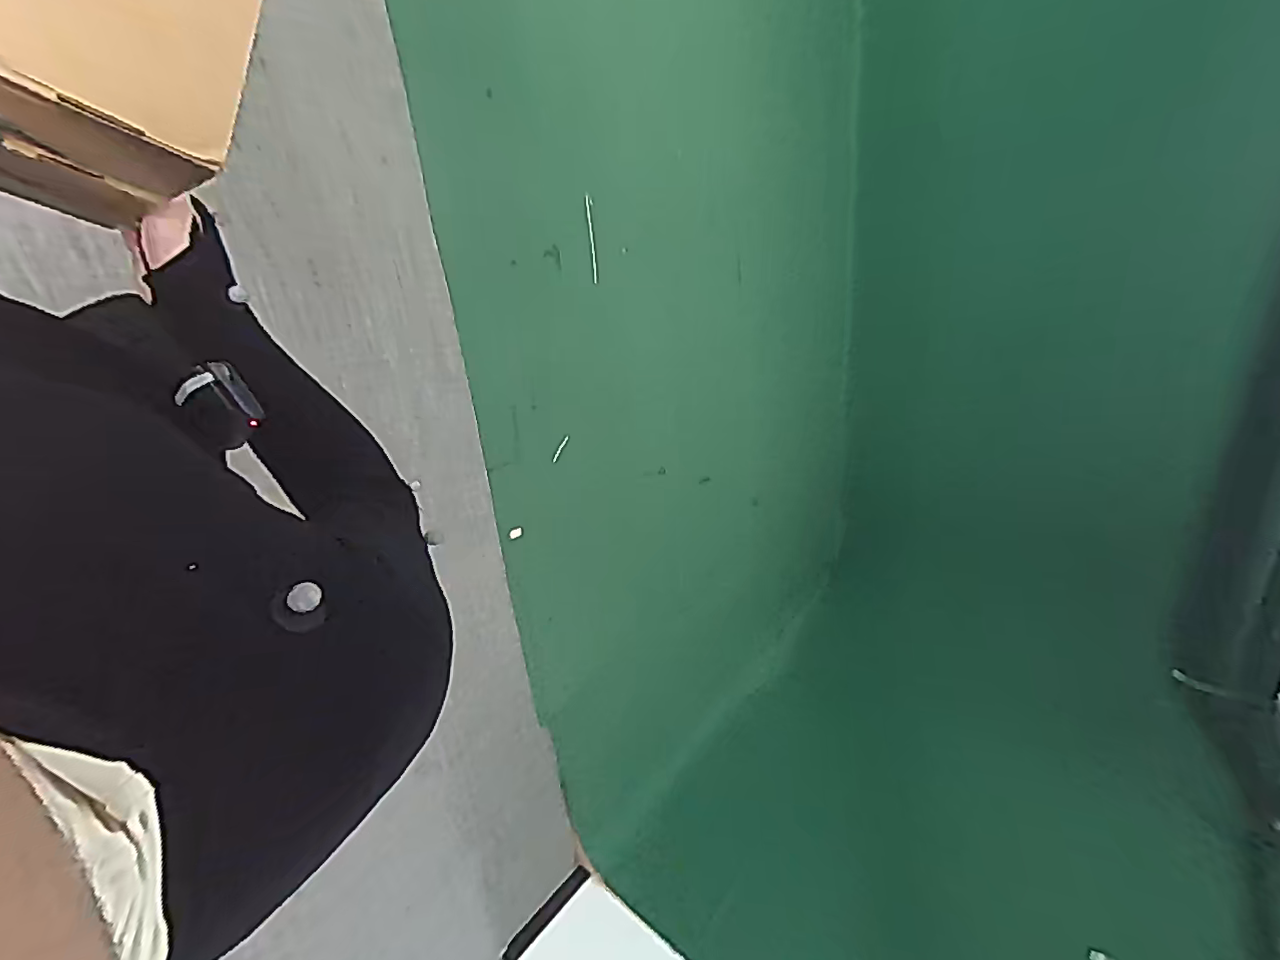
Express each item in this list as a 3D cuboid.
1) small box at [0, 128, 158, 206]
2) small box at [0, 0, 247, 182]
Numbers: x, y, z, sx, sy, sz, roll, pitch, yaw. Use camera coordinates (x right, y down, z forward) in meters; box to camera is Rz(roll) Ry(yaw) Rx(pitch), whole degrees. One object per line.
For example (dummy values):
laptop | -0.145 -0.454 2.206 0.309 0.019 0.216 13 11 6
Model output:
small box | -0.427 -0.311 0.362 0.168 0.176 0.179 10 97 -50
small box | -0.304 -0.275 0.258 0.168 0.176 0.179 11 96 -49
